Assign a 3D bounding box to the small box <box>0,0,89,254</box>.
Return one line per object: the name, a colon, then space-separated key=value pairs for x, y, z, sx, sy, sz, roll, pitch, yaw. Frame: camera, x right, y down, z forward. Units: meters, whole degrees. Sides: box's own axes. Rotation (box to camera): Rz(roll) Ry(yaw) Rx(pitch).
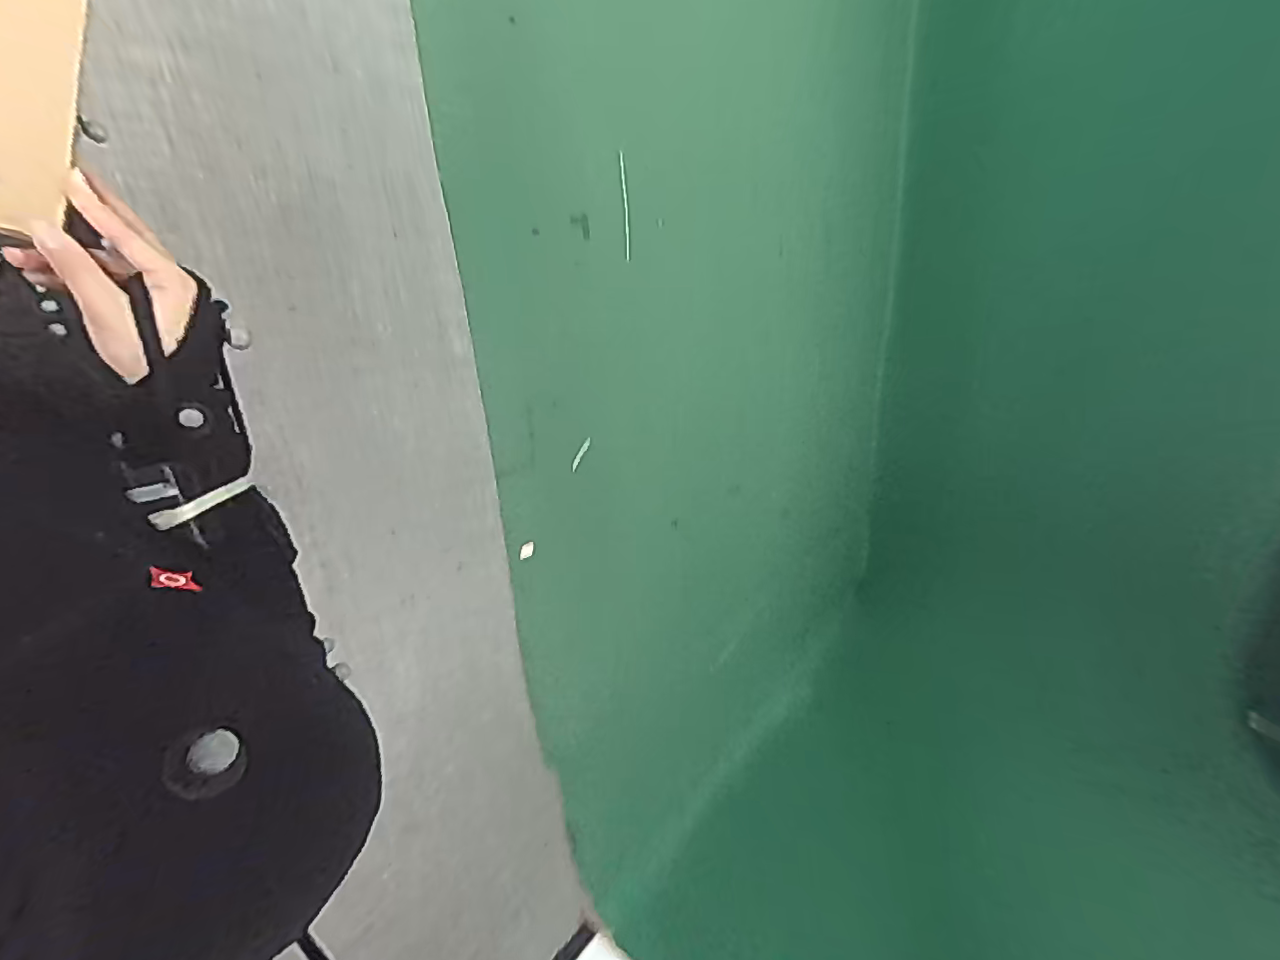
small box: x=-0.437 y=-0.246 z=0.307 sx=0.168 sy=0.176 sz=0.179 roll=3 pitch=96 yaw=-49
